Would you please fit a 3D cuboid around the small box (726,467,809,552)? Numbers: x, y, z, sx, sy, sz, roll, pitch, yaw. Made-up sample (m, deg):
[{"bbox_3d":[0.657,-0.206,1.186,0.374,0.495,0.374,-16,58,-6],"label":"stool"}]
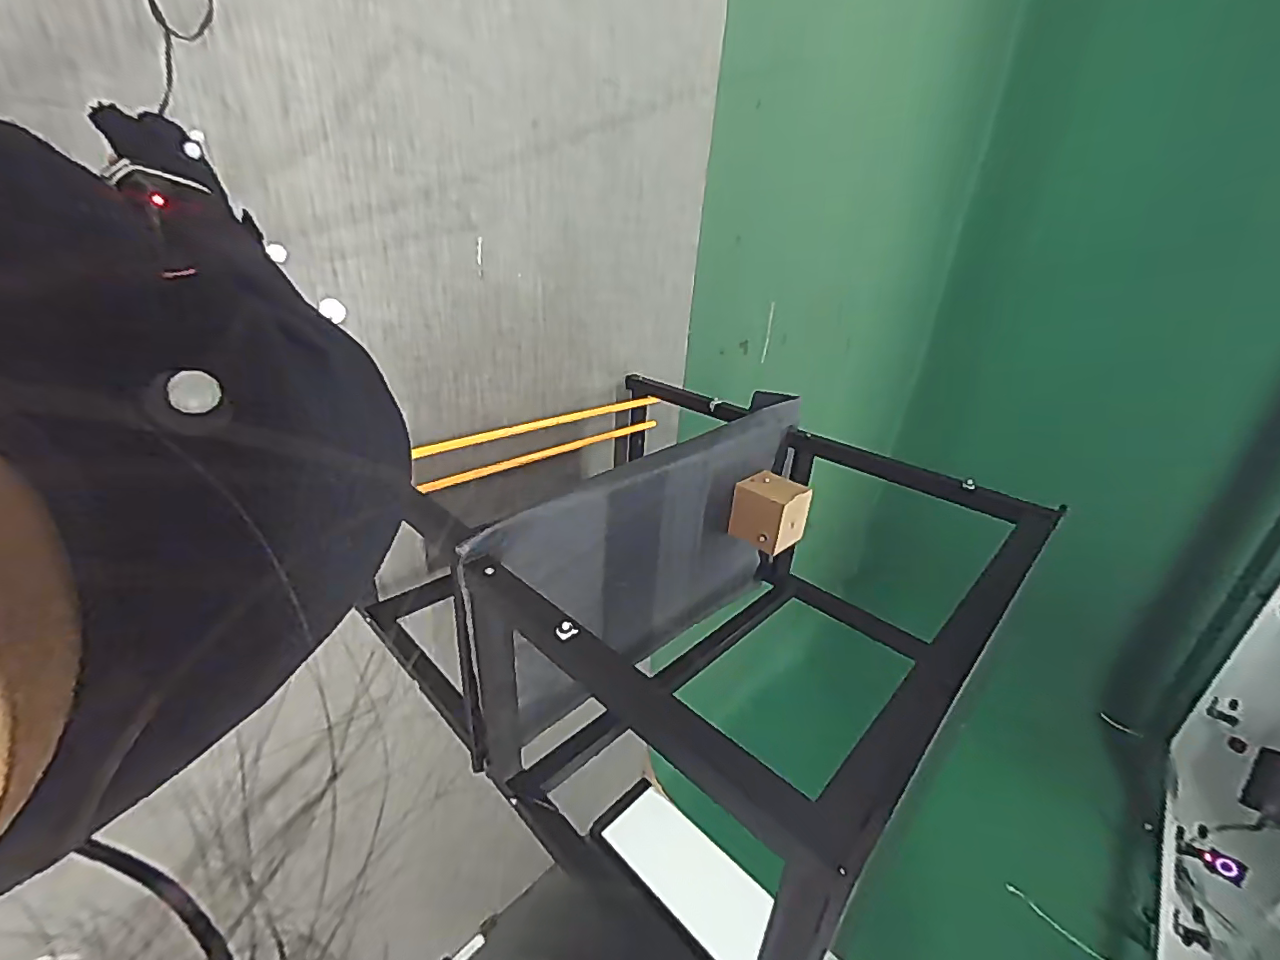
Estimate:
[{"bbox_3d":[0.378,0.083,1.627,0.168,0.176,0.179,-21,126,-42],"label":"small box"}]
